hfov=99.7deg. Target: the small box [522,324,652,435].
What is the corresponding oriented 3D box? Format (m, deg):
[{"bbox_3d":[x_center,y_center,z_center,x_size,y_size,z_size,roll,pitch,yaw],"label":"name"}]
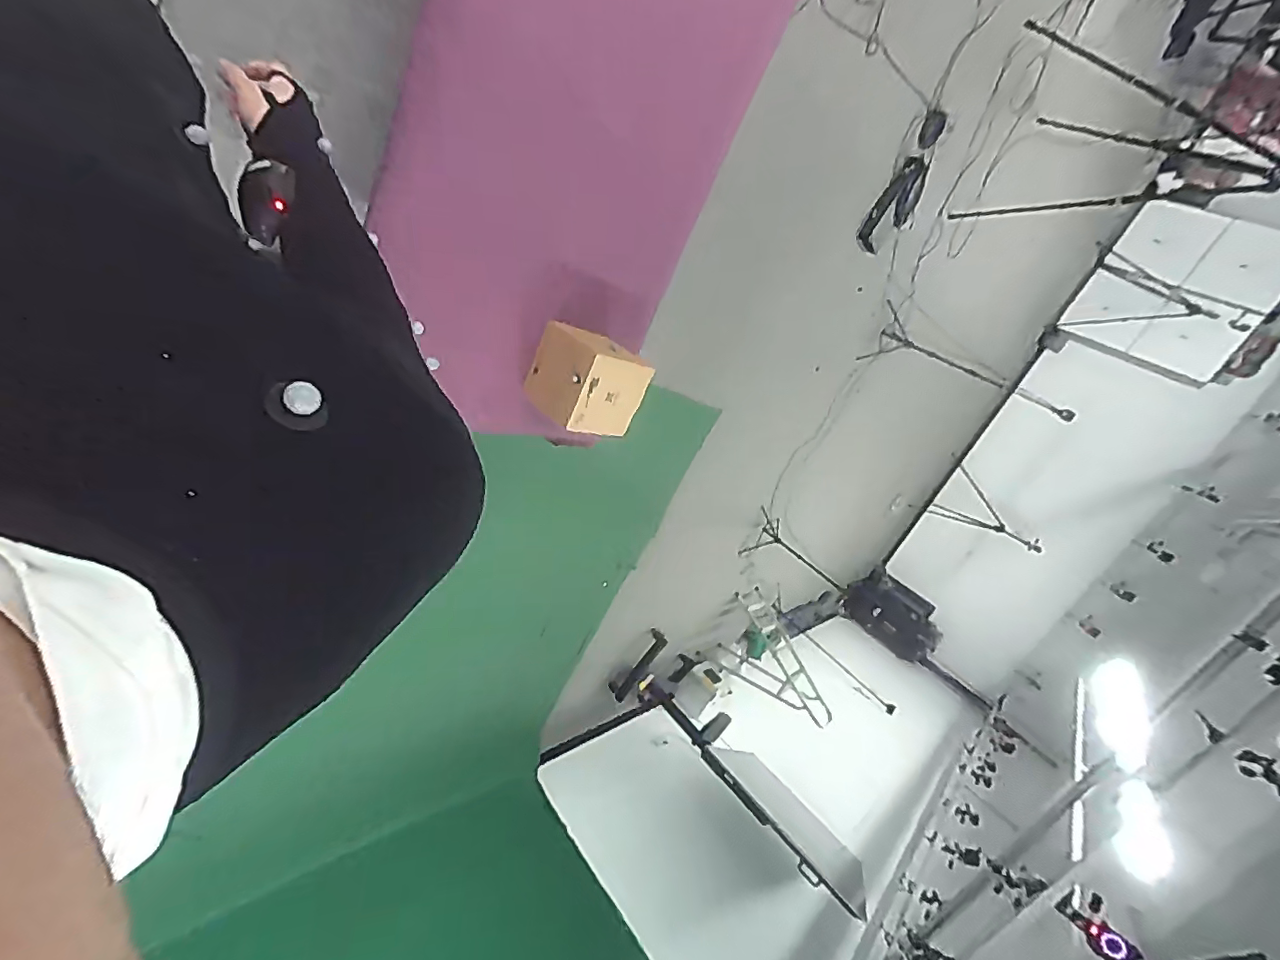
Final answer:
[{"bbox_3d":[-0.114,-0.209,1.136,0.179,0.176,0.168,0,122,-51],"label":"small box"}]
